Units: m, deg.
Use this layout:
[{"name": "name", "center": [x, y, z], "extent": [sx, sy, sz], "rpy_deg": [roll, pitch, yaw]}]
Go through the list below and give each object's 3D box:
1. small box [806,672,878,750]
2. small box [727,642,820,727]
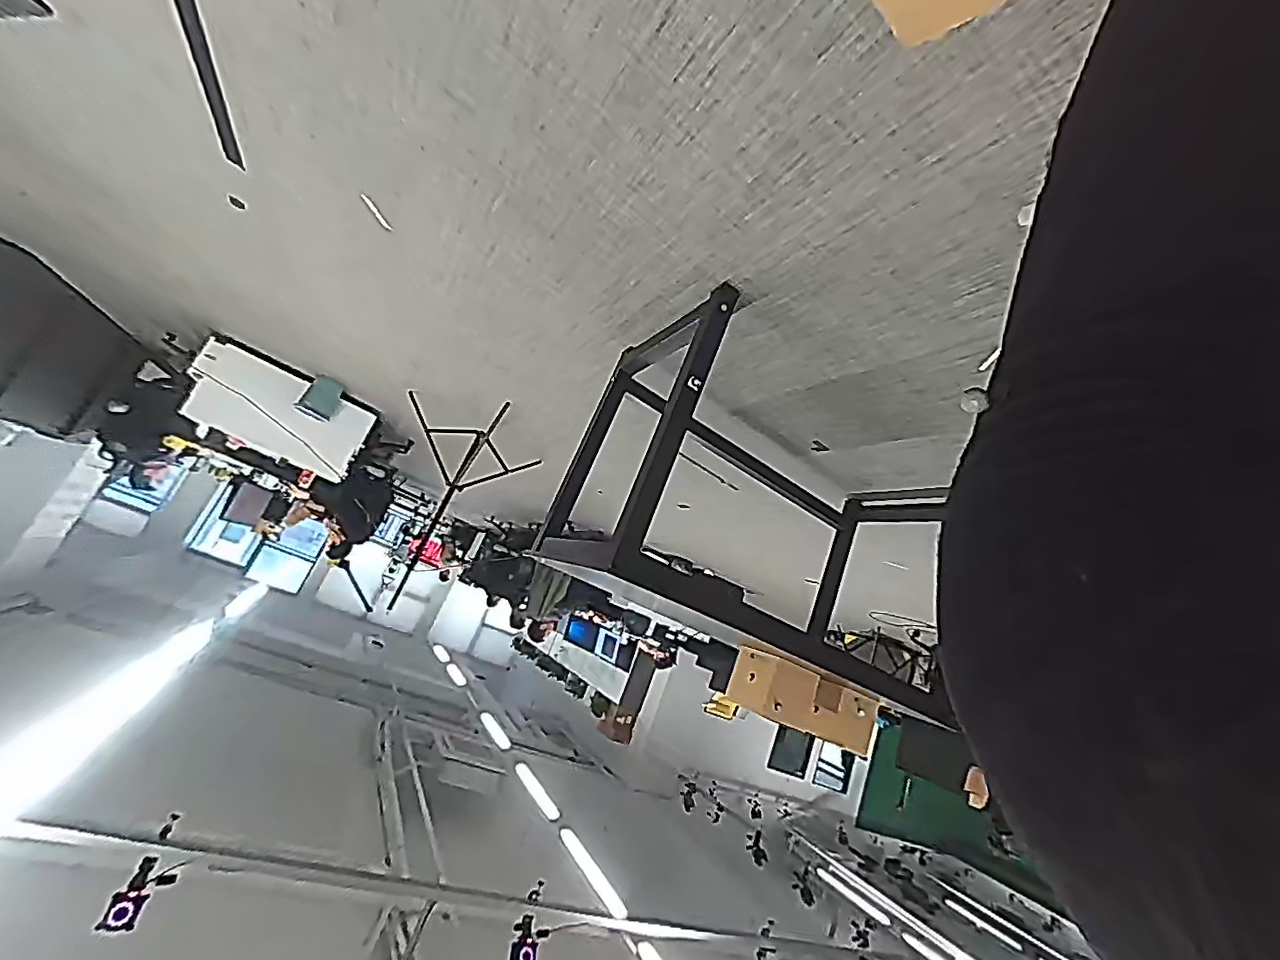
[{"name": "small box", "center": [0.608, 0.706, 1.684], "extent": [0.168, 0.176, 0.179], "rpy_deg": [28, 163, -21]}, {"name": "small box", "center": [0.392, 0.589, 1.581], "extent": [0.179, 0.176, 0.168], "rpy_deg": [29, 165, -23]}]
